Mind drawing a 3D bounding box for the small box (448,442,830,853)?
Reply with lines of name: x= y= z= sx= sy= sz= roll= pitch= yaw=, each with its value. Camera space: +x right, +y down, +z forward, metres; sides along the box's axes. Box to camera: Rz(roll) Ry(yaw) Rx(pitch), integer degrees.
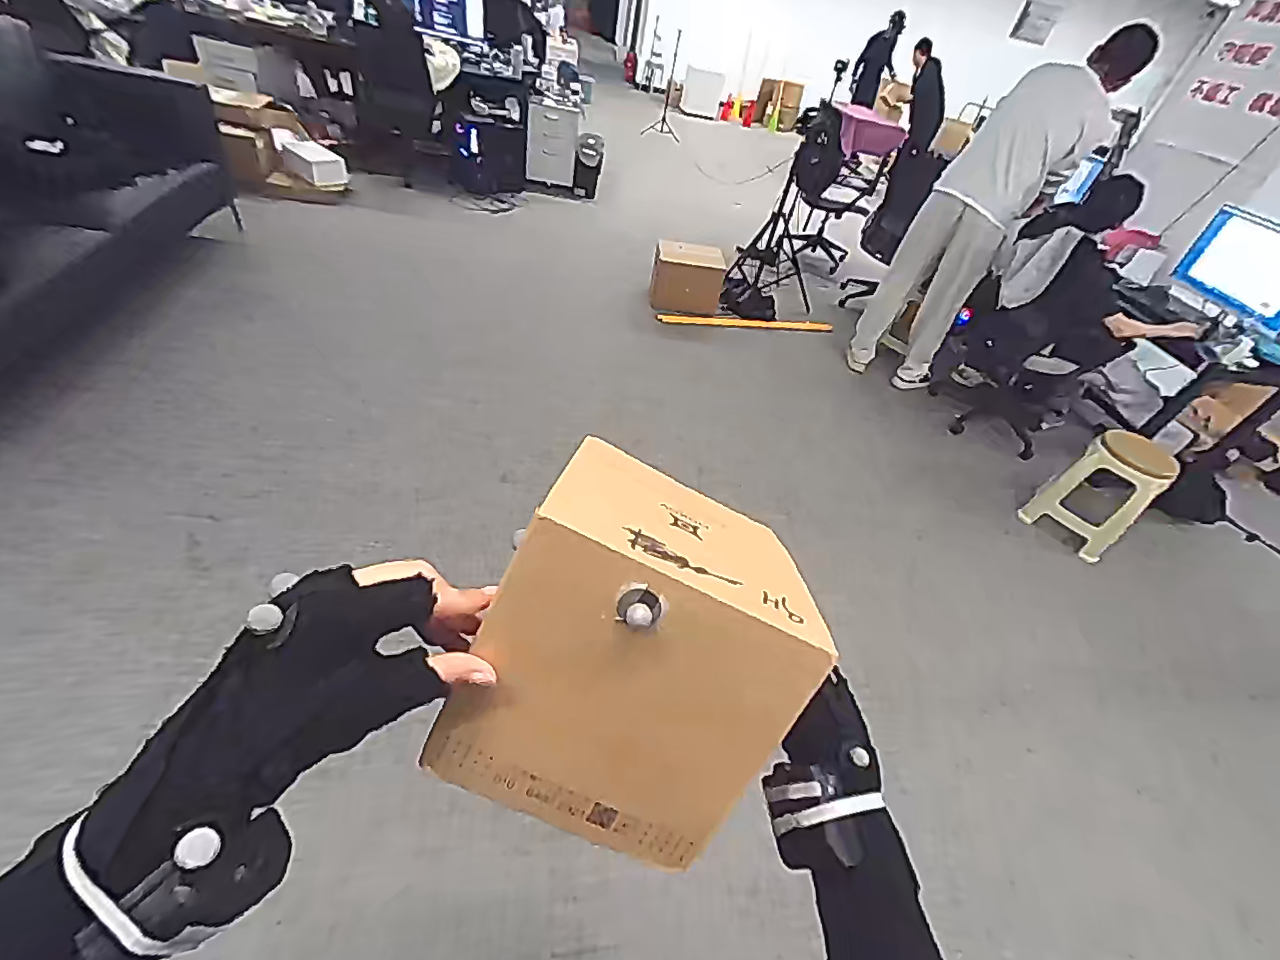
small box: x=-0.007 y=0.097 z=0.373 sx=0.168 sy=0.176 sz=0.179 roll=26 pitch=15 yaw=-5
